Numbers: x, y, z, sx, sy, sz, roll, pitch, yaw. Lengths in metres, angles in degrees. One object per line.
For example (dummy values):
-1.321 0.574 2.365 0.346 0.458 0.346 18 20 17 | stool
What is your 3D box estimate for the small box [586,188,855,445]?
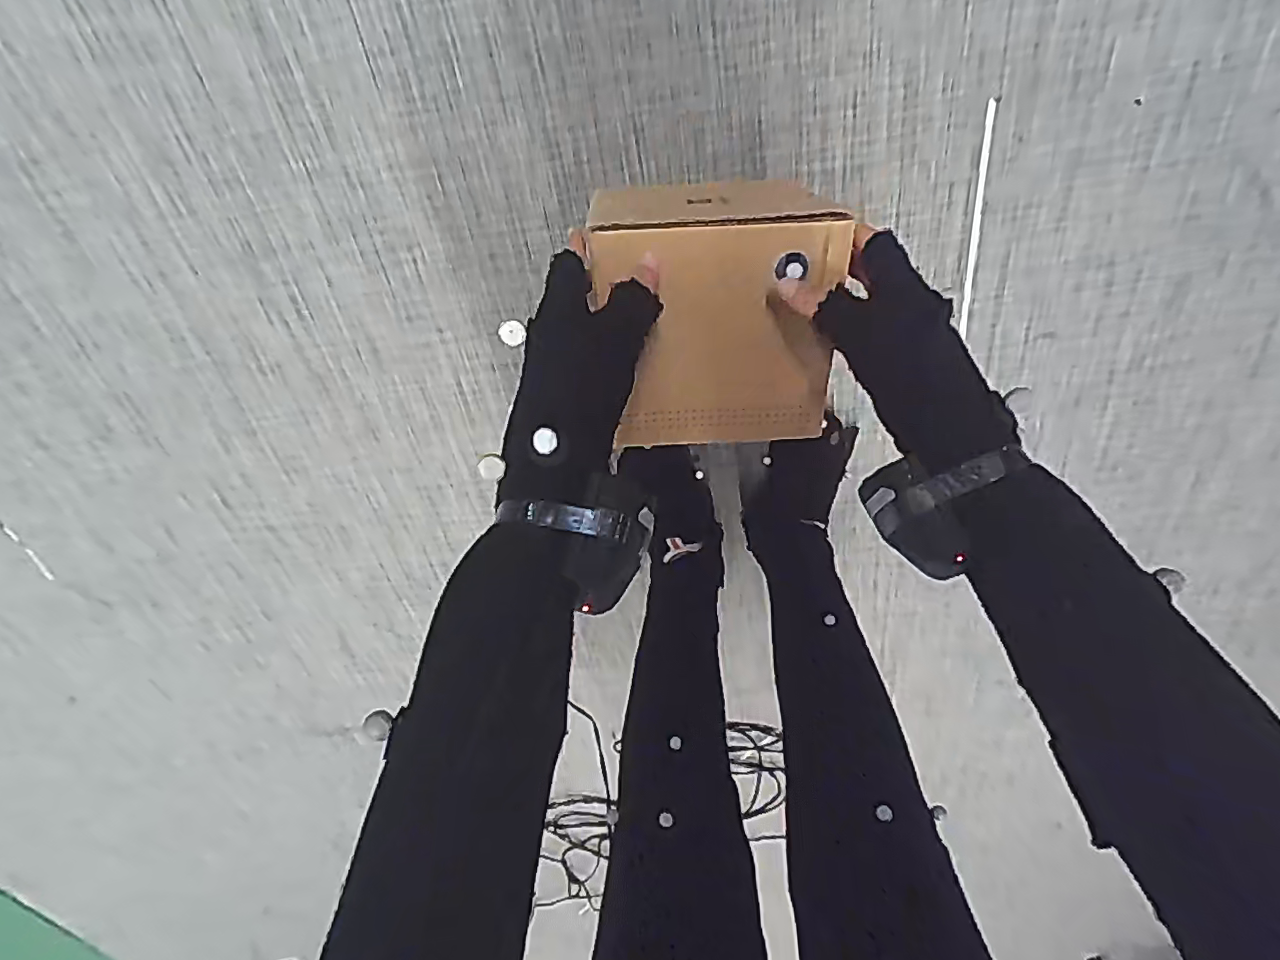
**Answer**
0.054 -0.138 0.453 0.179 0.168 0.176 -2 125 -1 | small box
